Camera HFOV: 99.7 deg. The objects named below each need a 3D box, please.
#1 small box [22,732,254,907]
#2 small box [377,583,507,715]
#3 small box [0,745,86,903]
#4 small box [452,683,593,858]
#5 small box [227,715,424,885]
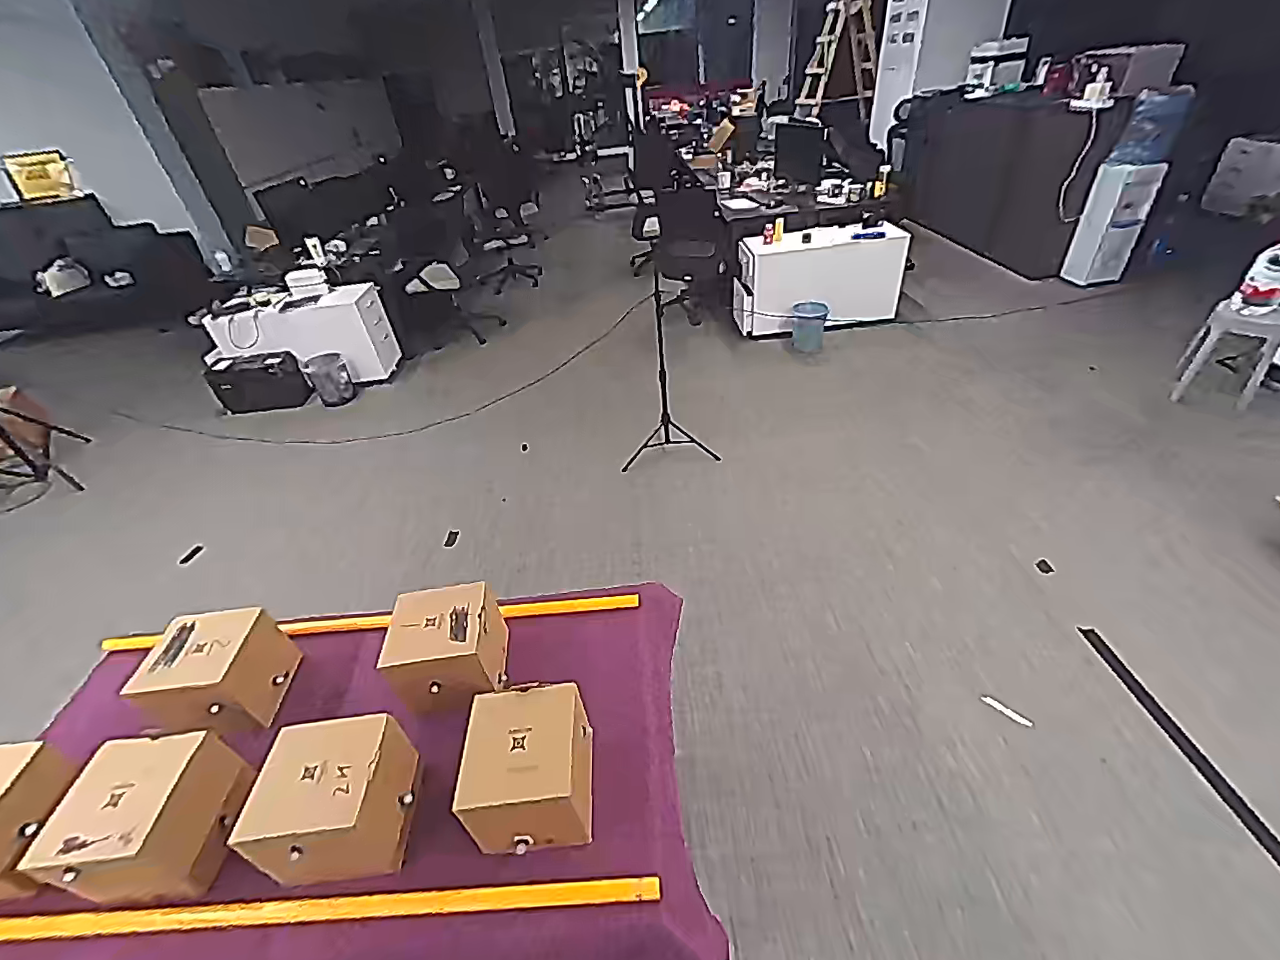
[{"bbox_3d":[-0.748,0.523,0.838,0.168,0.176,0.179,-8,37,2],"label":"small box"},{"bbox_3d":[-0.362,0.323,1.032,0.179,0.176,0.168,-9,39,0],"label":"small box"},{"bbox_3d":[-1.027,0.547,0.854,0.179,0.176,0.168,-7,37,1],"label":"small box"},{"bbox_3d":[-0.168,0.447,0.837,0.168,0.176,0.179,-8,36,2],"label":"small box"},{"bbox_3d":[-0.463,0.492,0.830,0.179,0.176,0.168,-7,36,1],"label":"small box"}]
